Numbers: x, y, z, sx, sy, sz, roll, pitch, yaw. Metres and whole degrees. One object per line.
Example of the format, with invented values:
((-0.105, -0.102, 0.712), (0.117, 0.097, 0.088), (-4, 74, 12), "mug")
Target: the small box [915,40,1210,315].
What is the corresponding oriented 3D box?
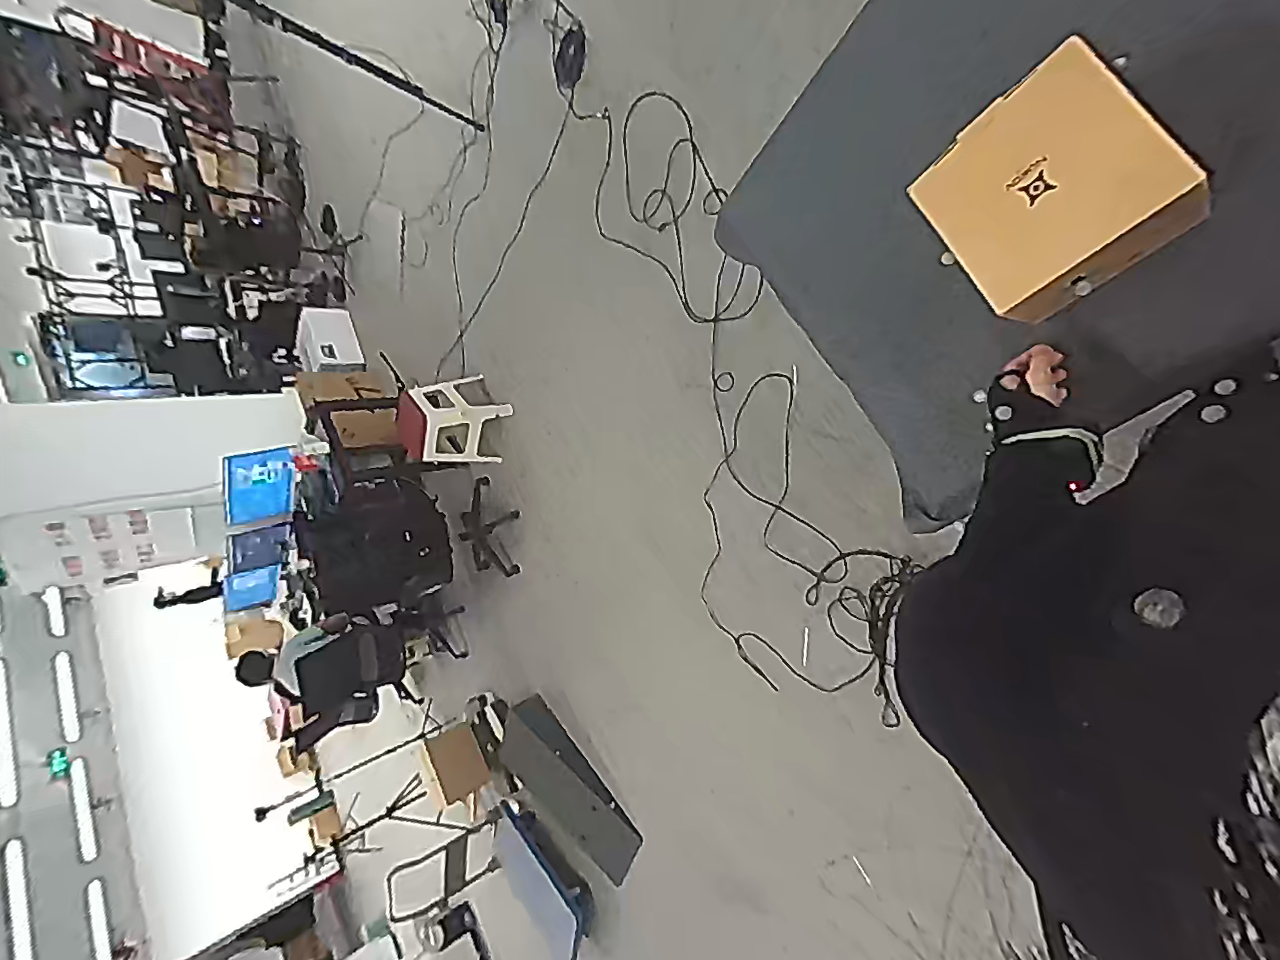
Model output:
((0.436, -0.291, 0.562), (0.168, 0.176, 0.179), (-41, 67, 44), "small box")
